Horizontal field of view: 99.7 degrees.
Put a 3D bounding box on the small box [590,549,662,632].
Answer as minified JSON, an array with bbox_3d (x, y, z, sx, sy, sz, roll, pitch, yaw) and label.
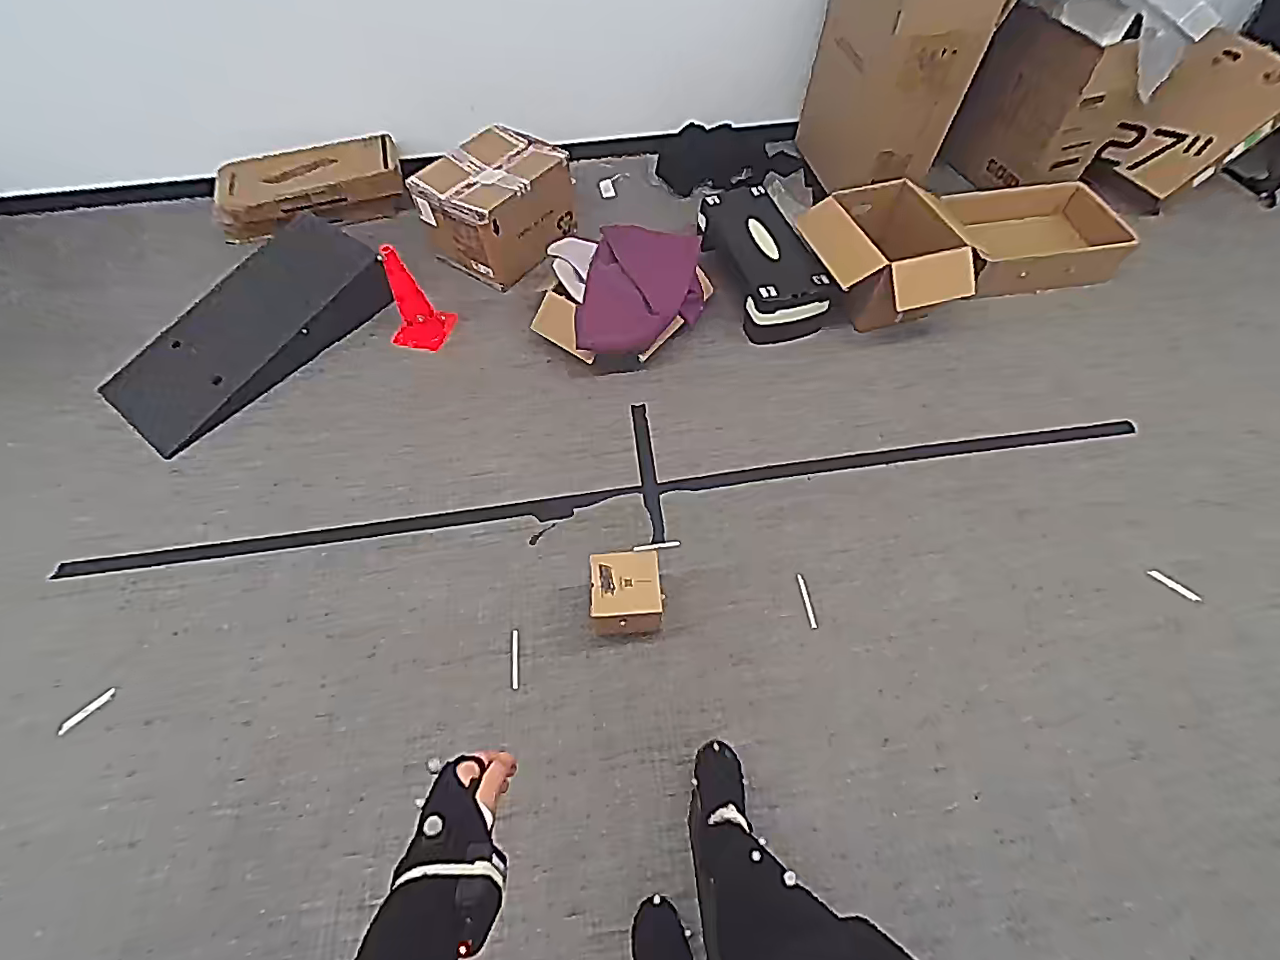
[{"bbox_3d":[-0.035,0.295,1.419,0.179,0.176,0.168,-4,59,-2],"label":"small box"}]
